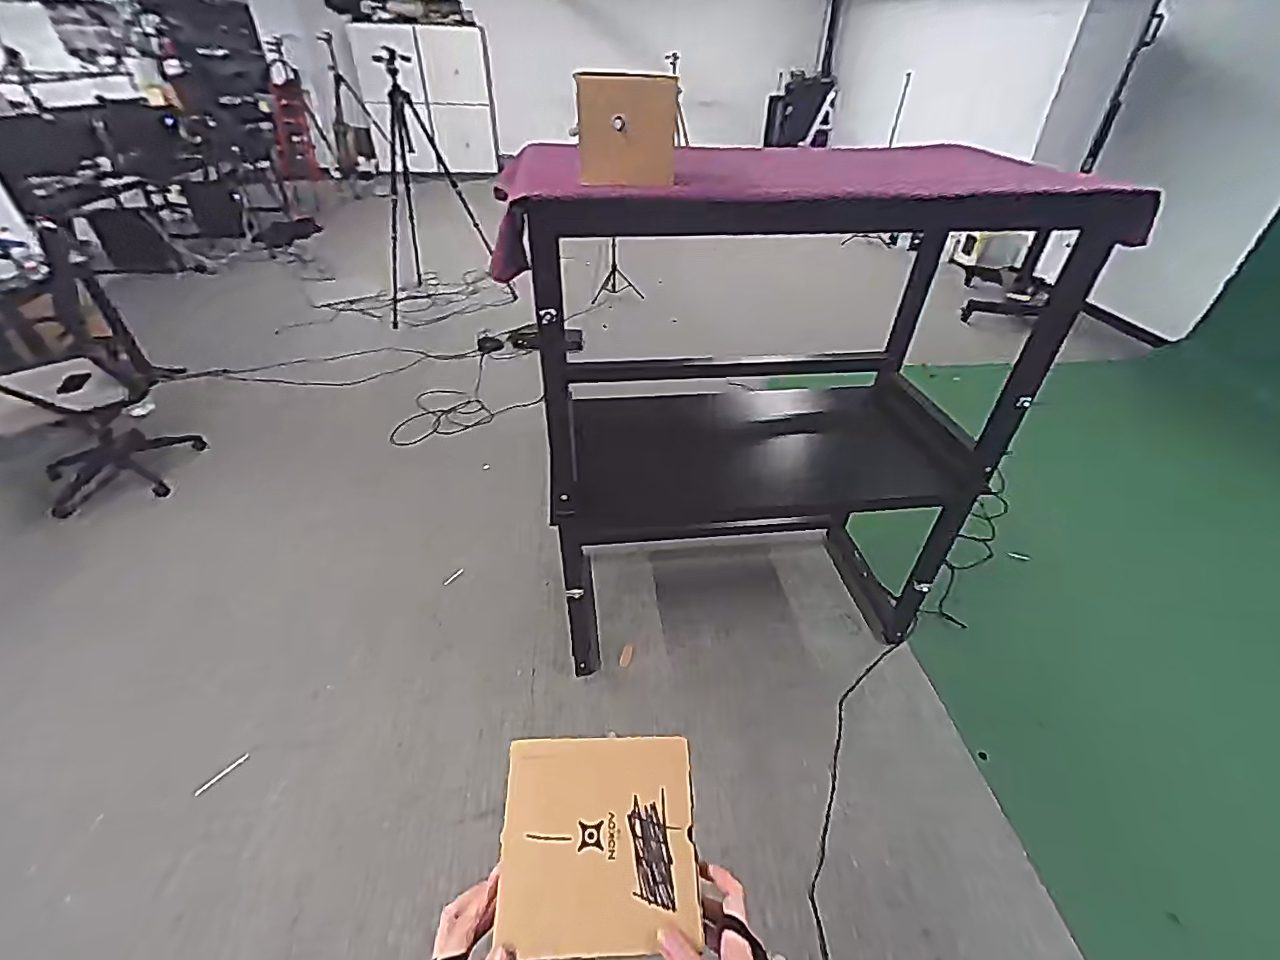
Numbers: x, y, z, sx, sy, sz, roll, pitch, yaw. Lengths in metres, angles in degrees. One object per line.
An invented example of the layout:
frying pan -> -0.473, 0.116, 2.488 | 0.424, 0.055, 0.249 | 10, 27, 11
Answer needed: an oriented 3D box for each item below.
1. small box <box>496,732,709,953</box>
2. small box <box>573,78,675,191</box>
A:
small box -> -0.036, 0.361, 0.550 | 0.179, 0.176, 0.168 | 1, 54, -4
small box -> -0.031, -0.647, 1.013 | 0.179, 0.176, 0.168 | -2, 38, -4
